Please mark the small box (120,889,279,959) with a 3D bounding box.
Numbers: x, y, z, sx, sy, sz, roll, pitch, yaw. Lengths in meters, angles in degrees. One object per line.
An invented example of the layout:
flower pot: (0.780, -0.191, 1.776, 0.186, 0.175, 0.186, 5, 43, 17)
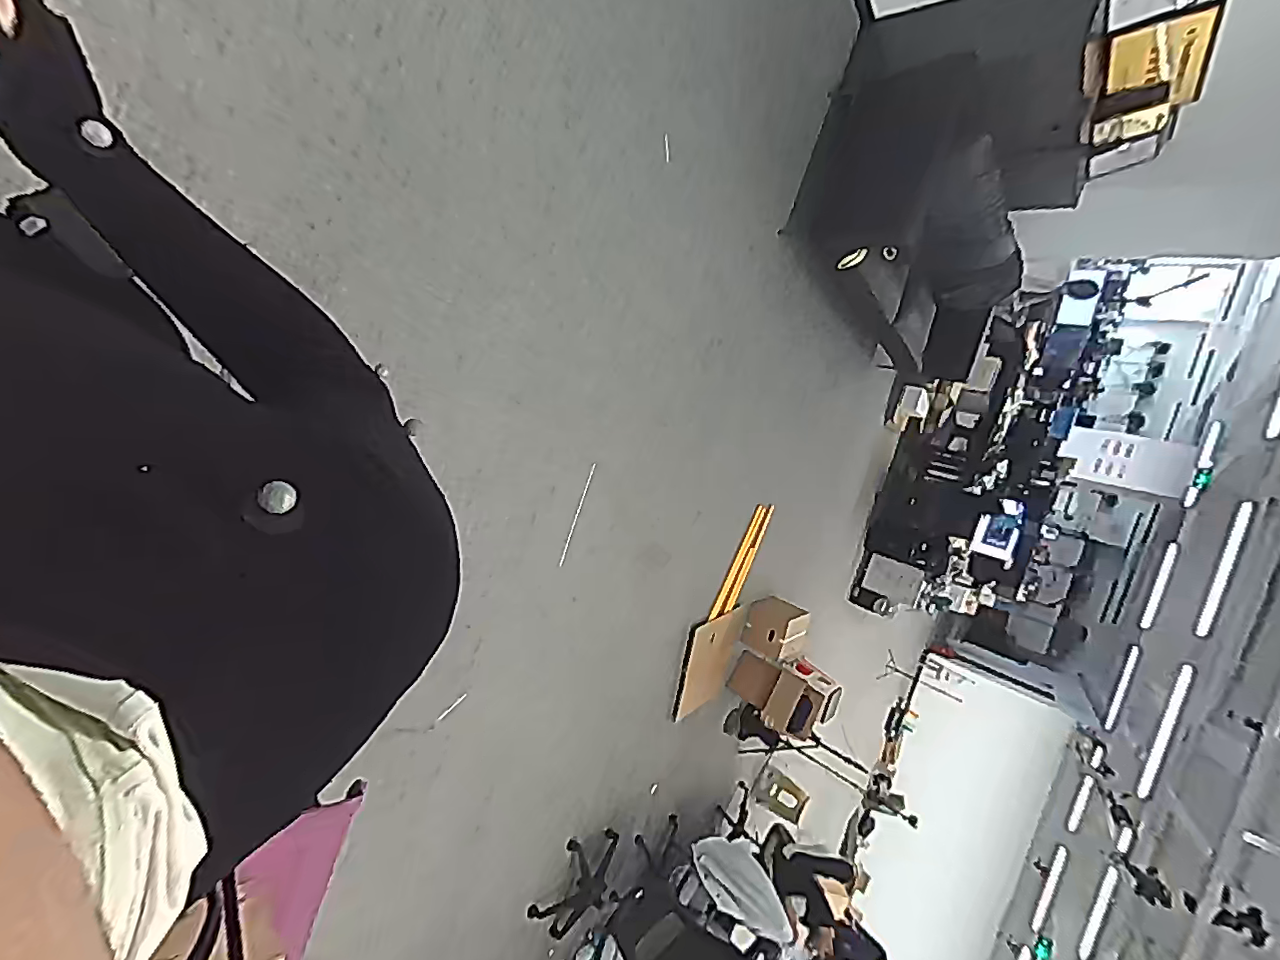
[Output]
small box: (-0.706, 0.796, 0.851, 0.168, 0.176, 0.179, 12, 98, -50)
